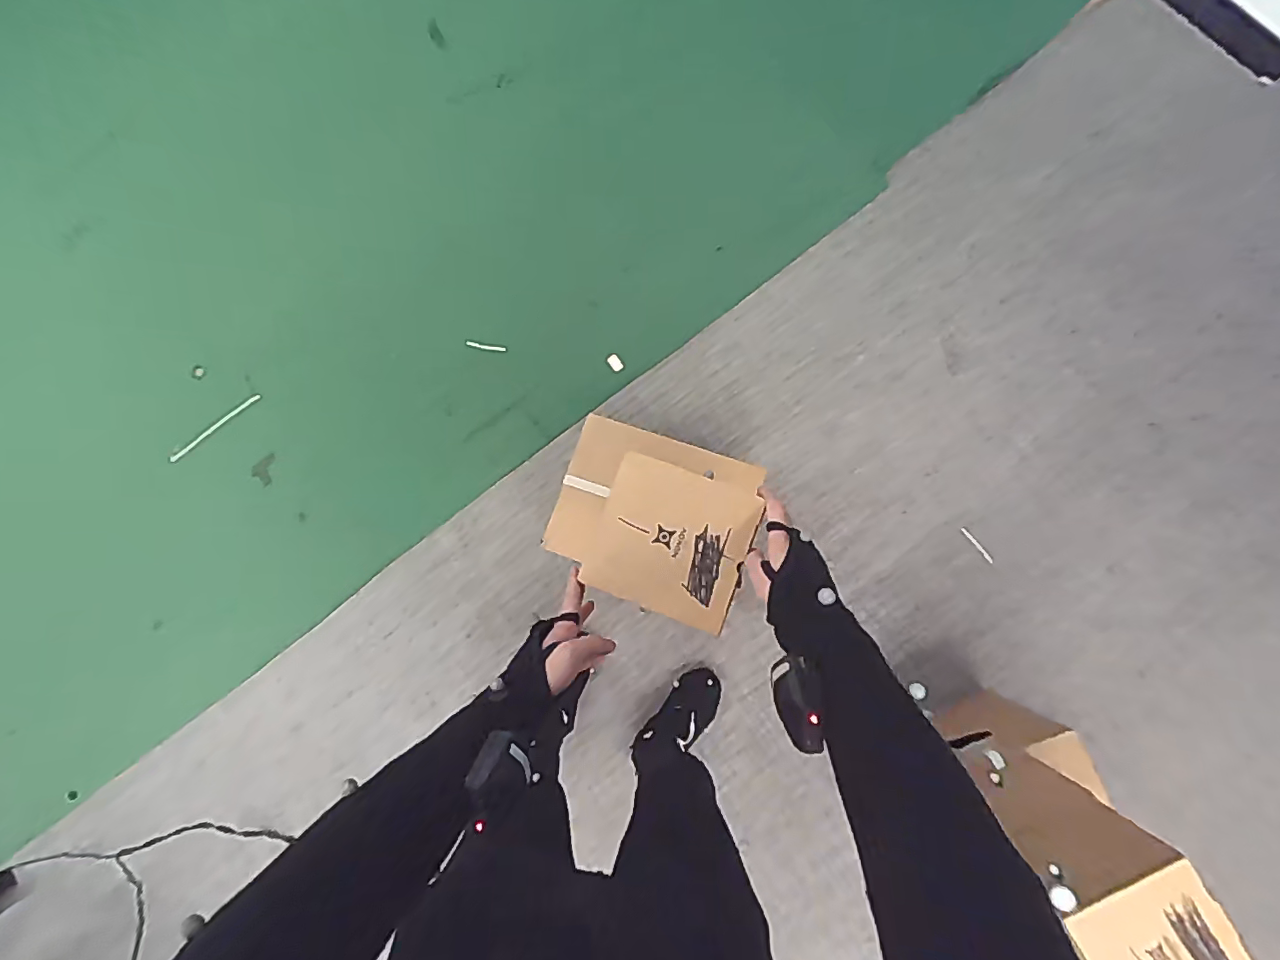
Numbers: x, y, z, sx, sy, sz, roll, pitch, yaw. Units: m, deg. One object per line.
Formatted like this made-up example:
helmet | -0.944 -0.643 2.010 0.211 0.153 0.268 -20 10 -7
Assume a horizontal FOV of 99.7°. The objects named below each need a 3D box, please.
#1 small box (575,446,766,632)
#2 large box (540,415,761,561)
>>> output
small box | 0.044 0.072 0.691 0.179 0.176 0.168 21 87 11
large box | 0.036 0.079 1.280 0.408 0.320 0.320 18 83 8
